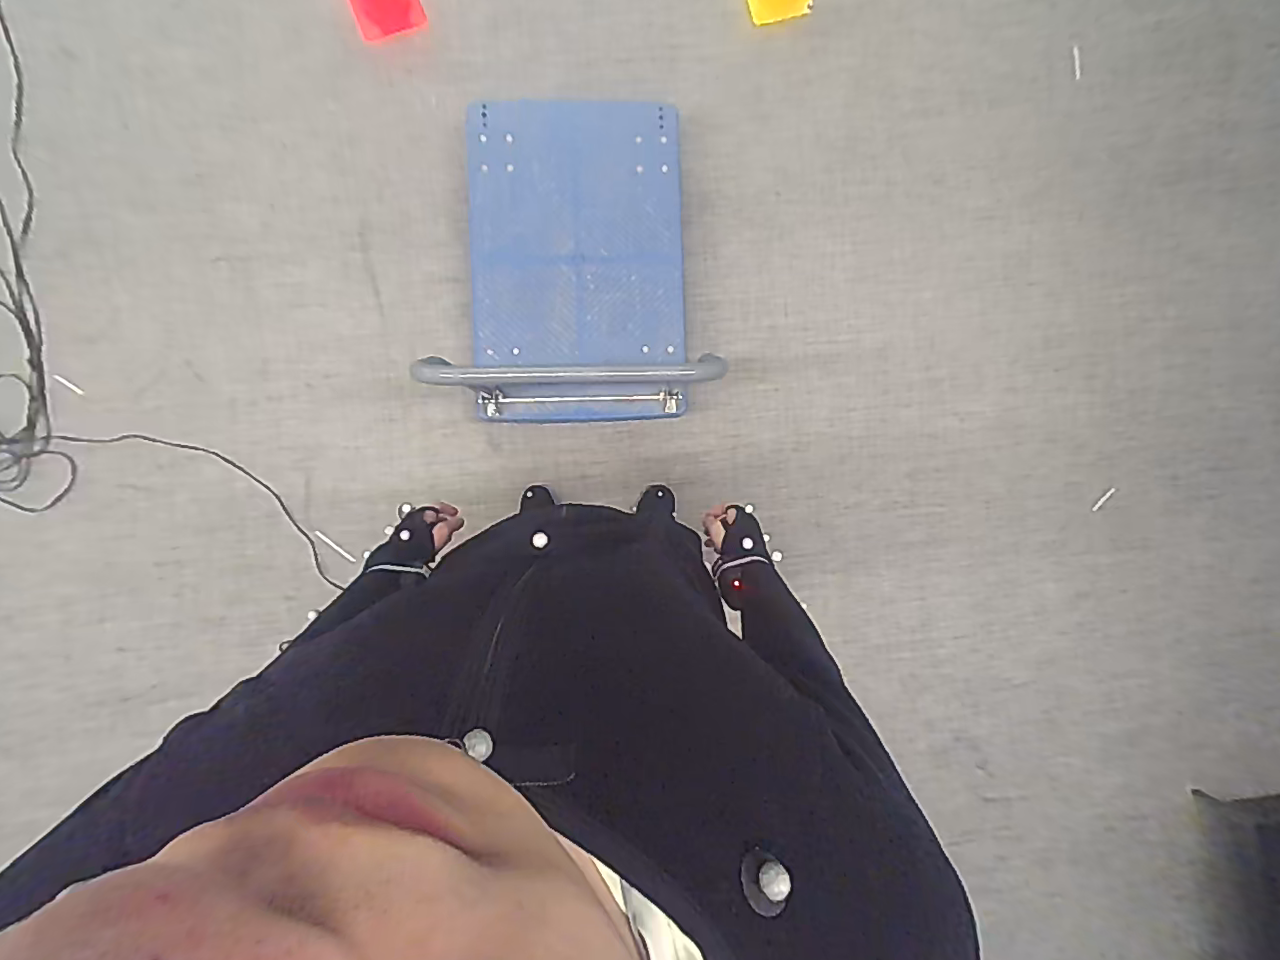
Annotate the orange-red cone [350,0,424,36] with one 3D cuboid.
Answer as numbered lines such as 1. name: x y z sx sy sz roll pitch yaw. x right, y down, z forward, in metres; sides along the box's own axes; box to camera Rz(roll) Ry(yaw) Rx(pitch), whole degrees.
1. orange-red cone: -0.746 -1.422 1.421 0.199 0.360 0.198 -20 91 -2
